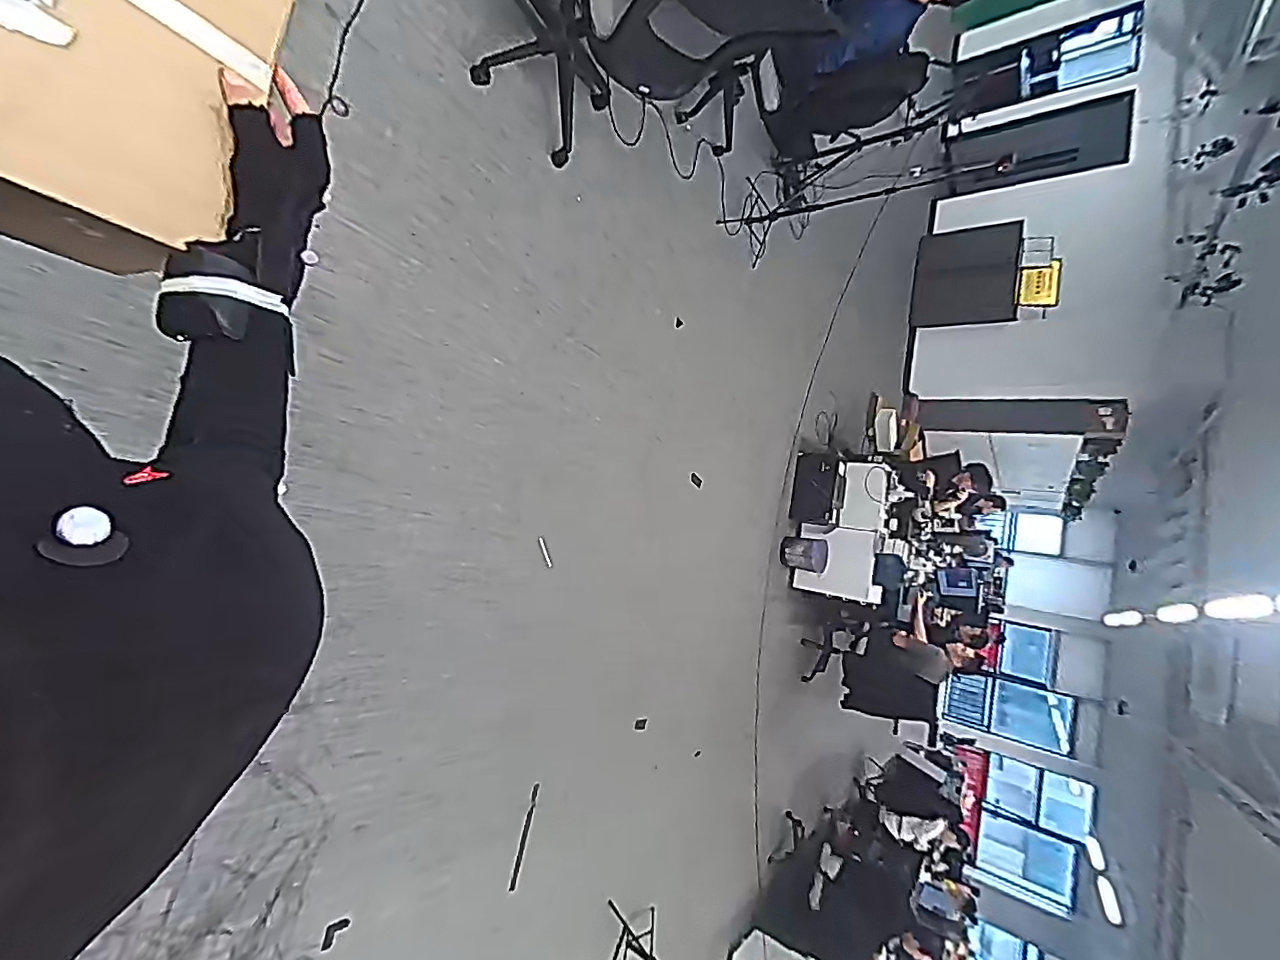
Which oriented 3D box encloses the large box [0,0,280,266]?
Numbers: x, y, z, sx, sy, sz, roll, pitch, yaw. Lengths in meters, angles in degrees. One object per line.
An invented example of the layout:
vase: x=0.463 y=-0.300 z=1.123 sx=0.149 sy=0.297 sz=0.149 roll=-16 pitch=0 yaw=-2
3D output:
large box: x=-0.549 y=-0.389 z=0.373 sx=0.408 sy=0.320 sz=0.320 roll=16 pitch=88 yaw=-56
